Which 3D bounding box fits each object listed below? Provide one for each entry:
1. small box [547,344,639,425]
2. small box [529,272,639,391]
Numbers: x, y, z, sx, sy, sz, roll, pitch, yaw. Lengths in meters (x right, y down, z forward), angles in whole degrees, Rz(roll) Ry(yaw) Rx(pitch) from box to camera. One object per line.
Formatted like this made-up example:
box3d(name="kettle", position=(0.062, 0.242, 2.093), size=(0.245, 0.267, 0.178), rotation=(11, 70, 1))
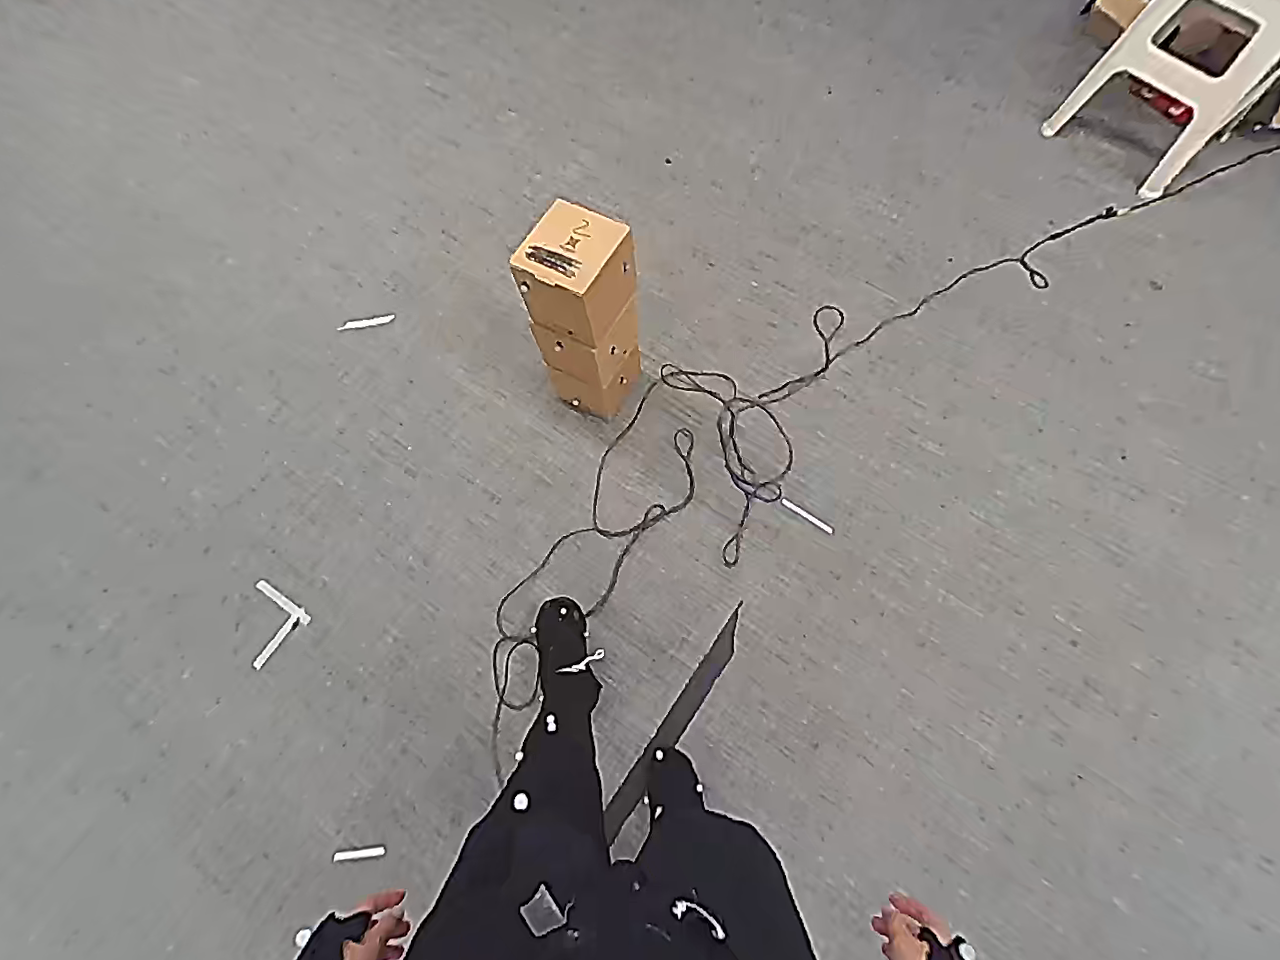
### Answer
box3d(name="small box", position=(-0.110, -0.273, 1.376), size=(0.168, 0.176, 0.179), rotation=(26, 75, 13))
box3d(name="small box", position=(-0.116, -0.325, 1.223), size=(0.179, 0.176, 0.168), rotation=(28, 75, 14))
